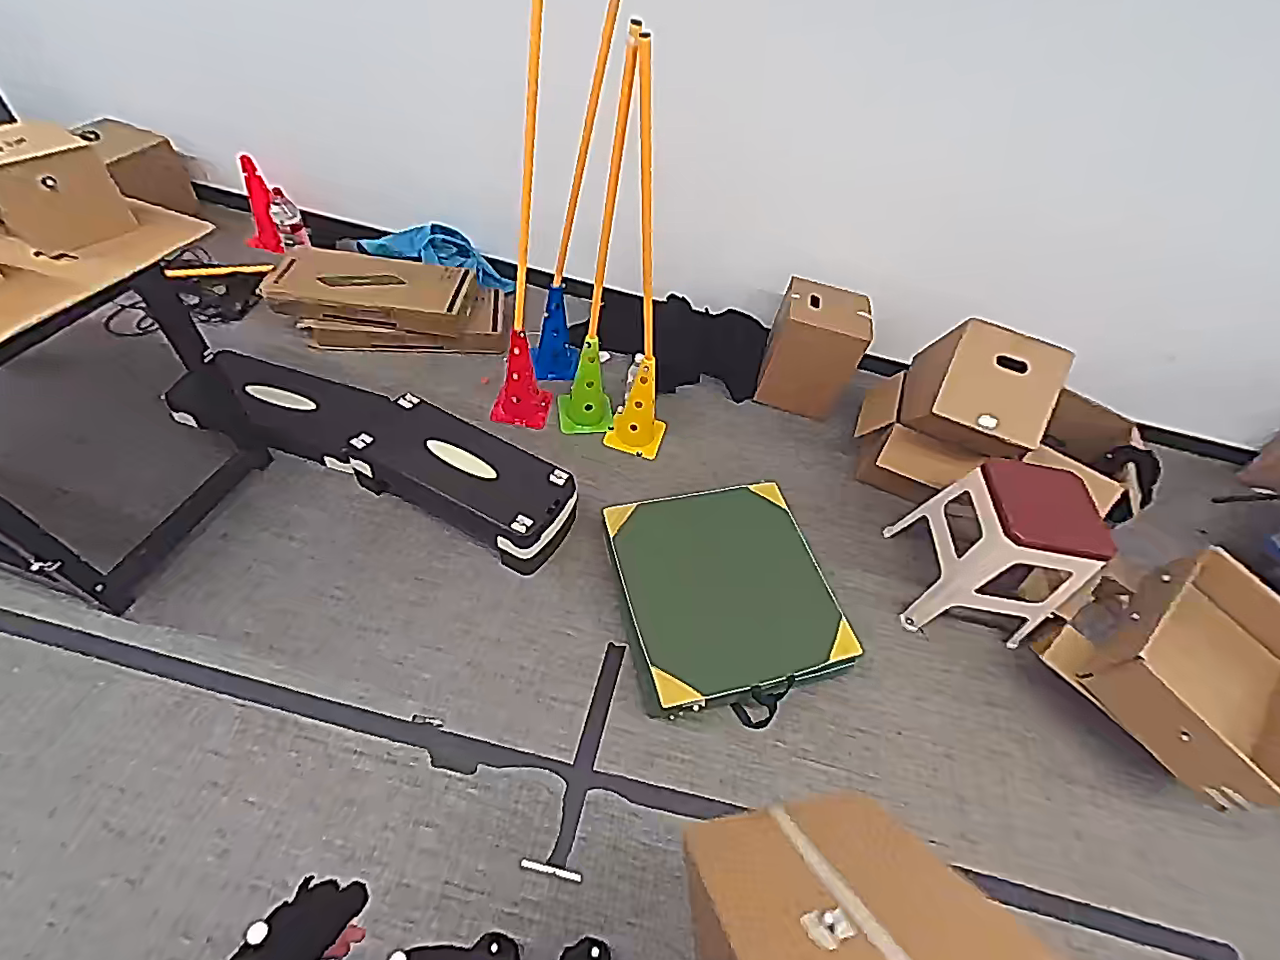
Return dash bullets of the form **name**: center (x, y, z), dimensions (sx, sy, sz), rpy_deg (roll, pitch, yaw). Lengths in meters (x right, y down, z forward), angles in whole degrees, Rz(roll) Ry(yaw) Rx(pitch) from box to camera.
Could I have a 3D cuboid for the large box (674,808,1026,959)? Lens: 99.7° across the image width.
- **large box**: center (0.250, 0.686, 0.673), dimensions (0.320, 0.408, 0.320), rpy_deg (-5, 85, -10)
